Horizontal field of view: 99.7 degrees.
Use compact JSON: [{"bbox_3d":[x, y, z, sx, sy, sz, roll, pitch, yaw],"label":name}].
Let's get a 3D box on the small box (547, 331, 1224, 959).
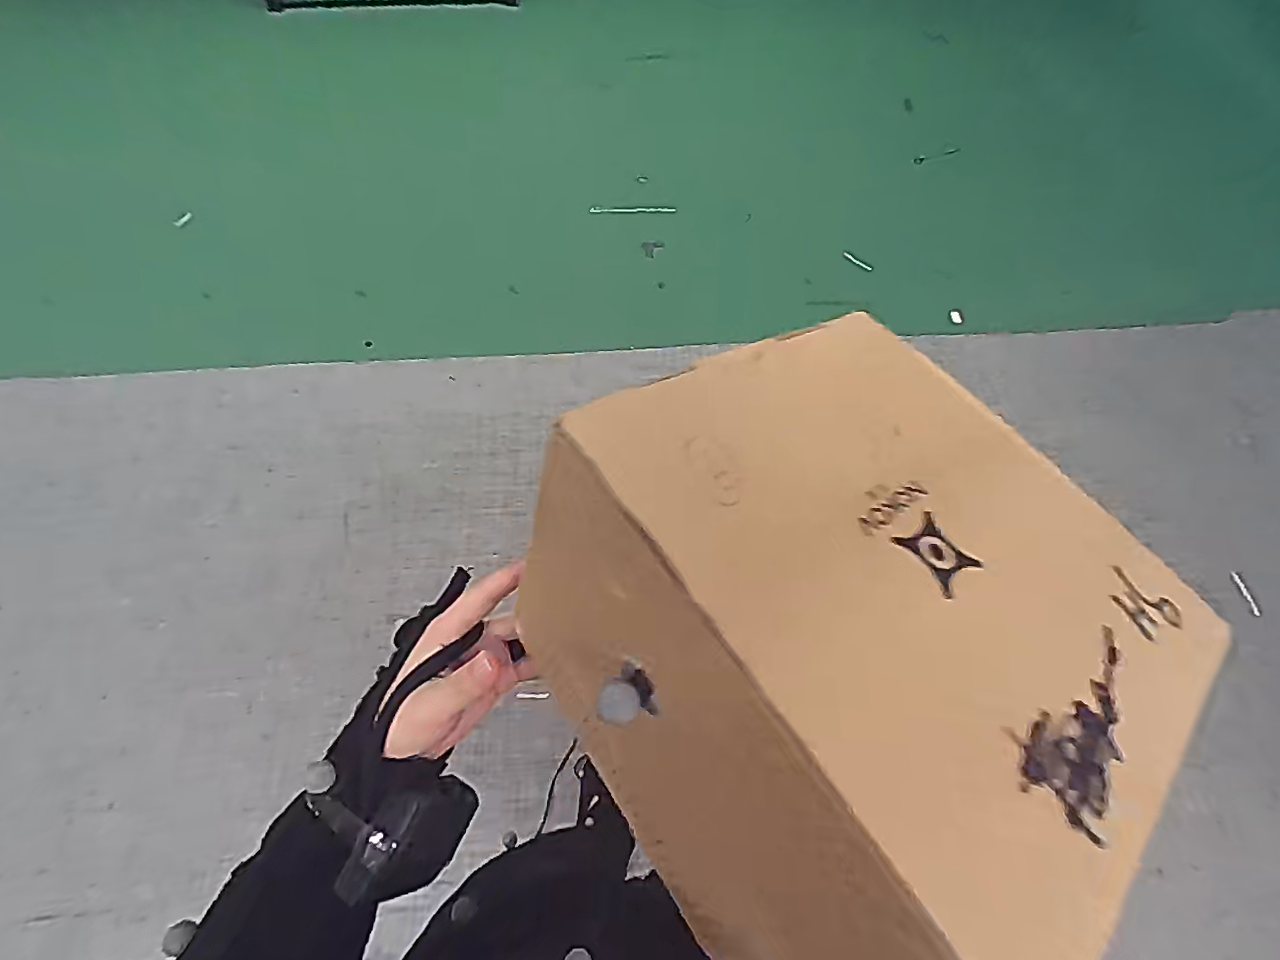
[{"bbox_3d":[0.074,0.068,0.242,0.168,0.176,0.179,-25,65,-31],"label":"small box"}]
